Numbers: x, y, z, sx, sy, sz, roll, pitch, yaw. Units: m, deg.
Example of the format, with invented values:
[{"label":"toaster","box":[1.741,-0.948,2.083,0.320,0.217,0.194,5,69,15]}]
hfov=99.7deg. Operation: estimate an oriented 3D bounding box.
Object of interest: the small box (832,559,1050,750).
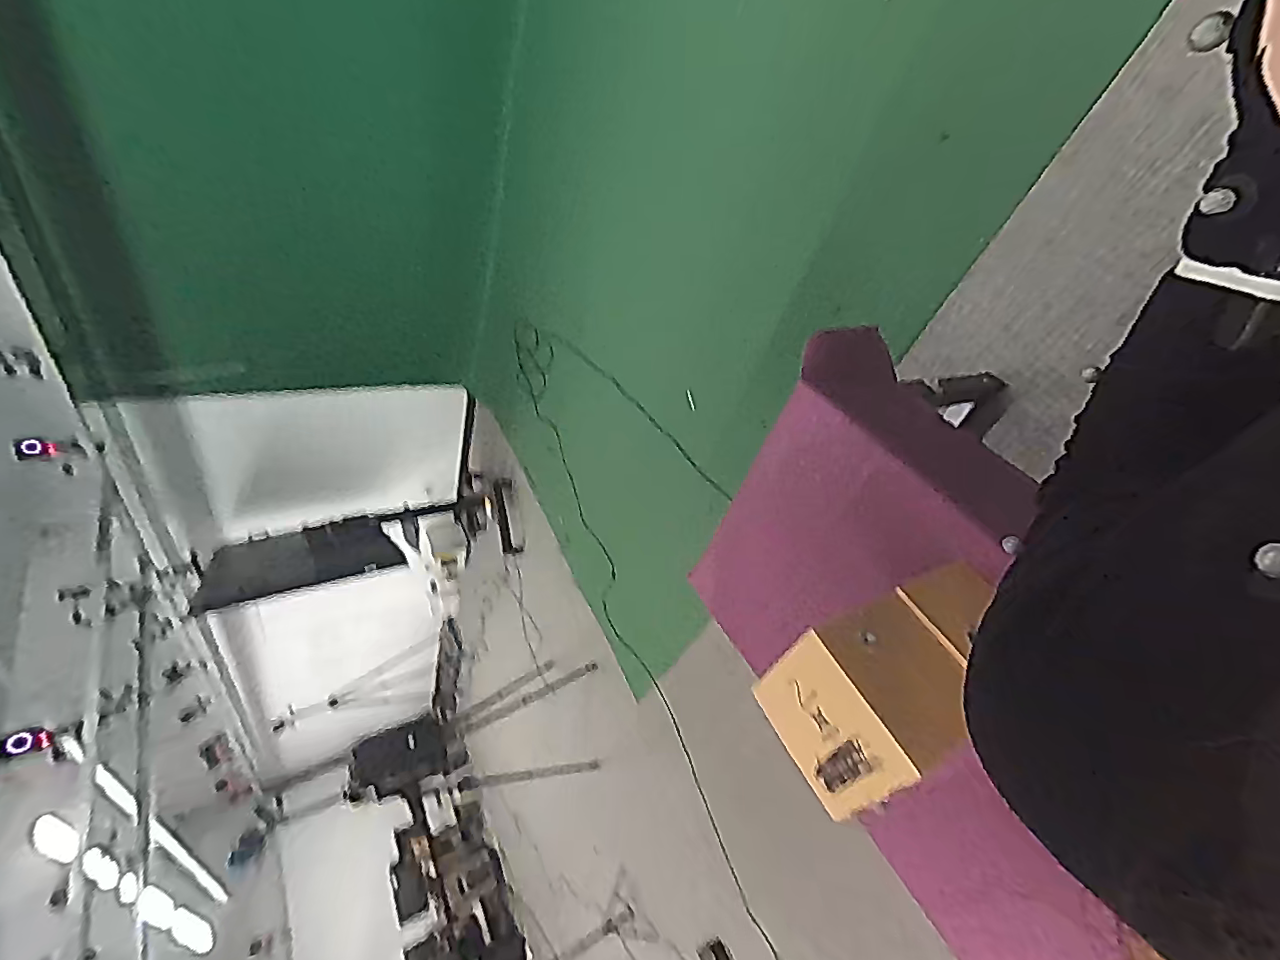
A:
[{"label":"small box","box":[0.422,0.238,0.766,0.179,0.176,0.168,55,140,33]}]
